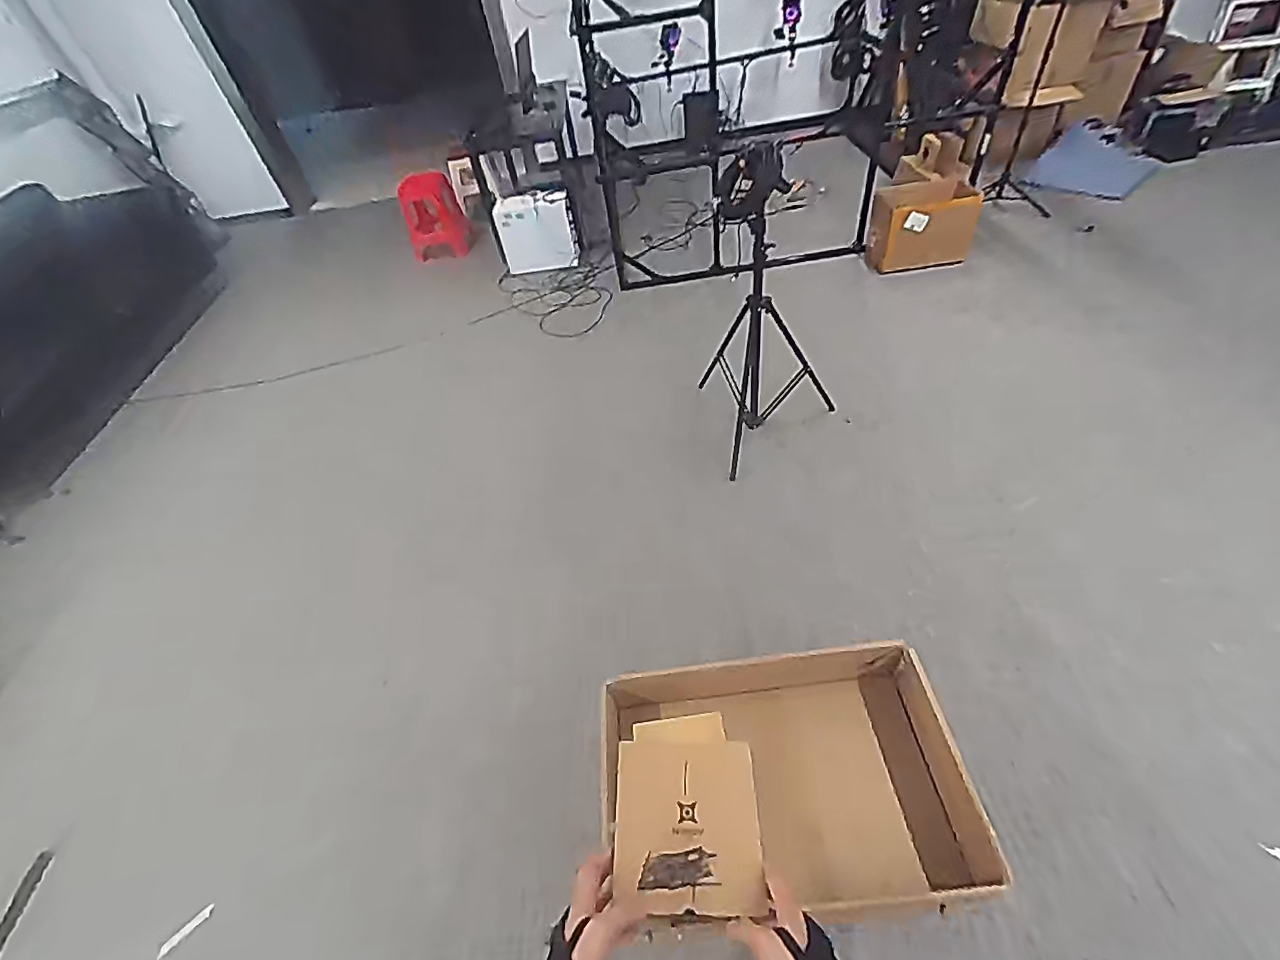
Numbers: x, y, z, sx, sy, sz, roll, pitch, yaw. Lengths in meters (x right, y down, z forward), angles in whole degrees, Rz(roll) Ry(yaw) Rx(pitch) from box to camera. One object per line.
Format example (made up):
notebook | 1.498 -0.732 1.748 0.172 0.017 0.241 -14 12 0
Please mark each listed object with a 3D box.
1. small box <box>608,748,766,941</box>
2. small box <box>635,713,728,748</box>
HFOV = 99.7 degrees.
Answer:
small box | 0.057 0.448 0.665 0.168 0.176 0.179 -2 46 3
small box | 0.087 0.554 0.987 0.168 0.176 0.179 -10 47 3
